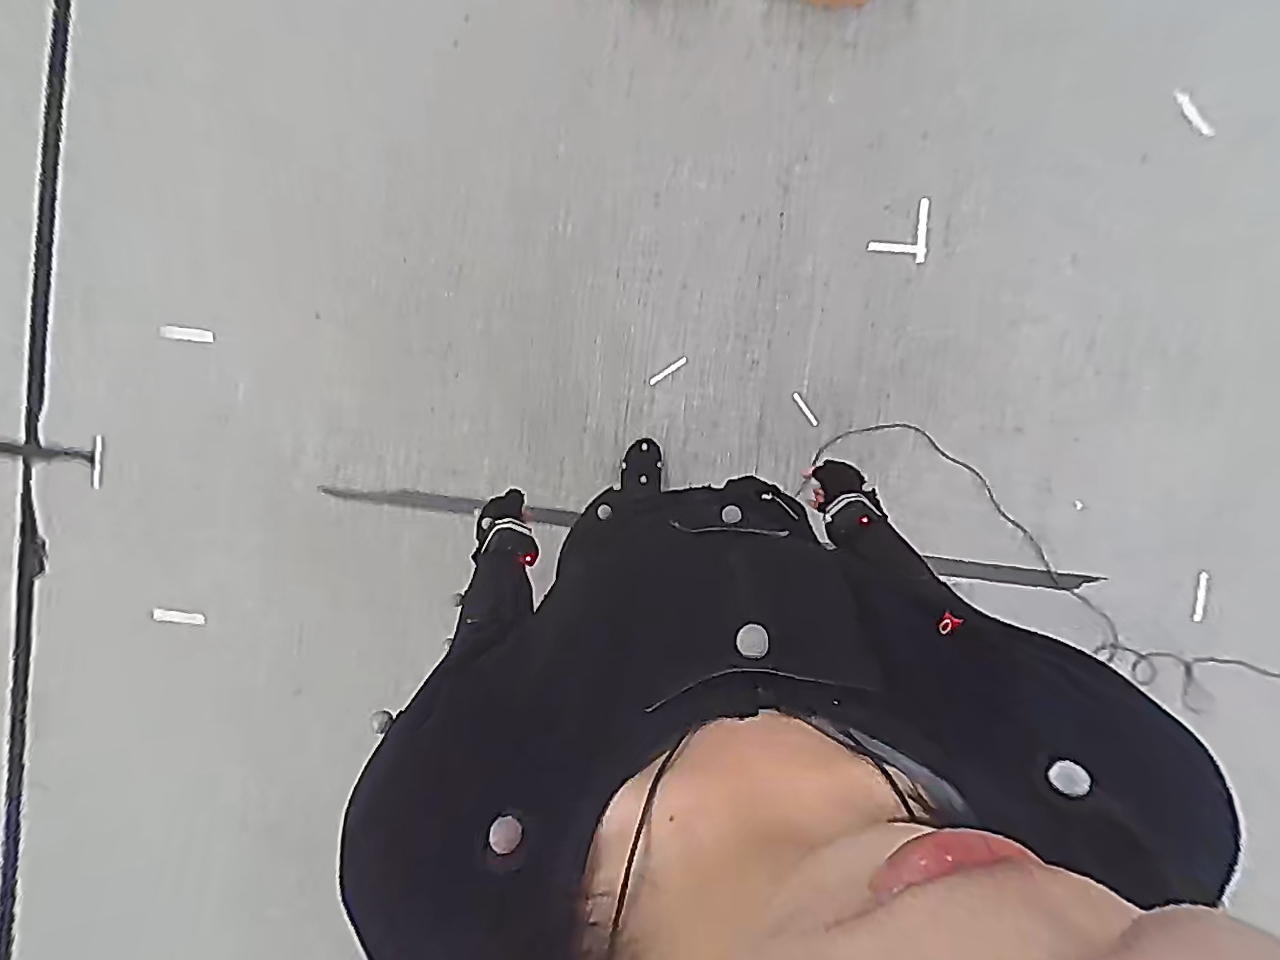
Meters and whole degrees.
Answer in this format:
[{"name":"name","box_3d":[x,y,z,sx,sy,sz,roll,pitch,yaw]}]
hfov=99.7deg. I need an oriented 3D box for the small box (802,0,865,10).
[{"name":"small box","box_3d":[0.532,-1.369,1.400,0.179,0.176,0.168,4,93,0]}]
